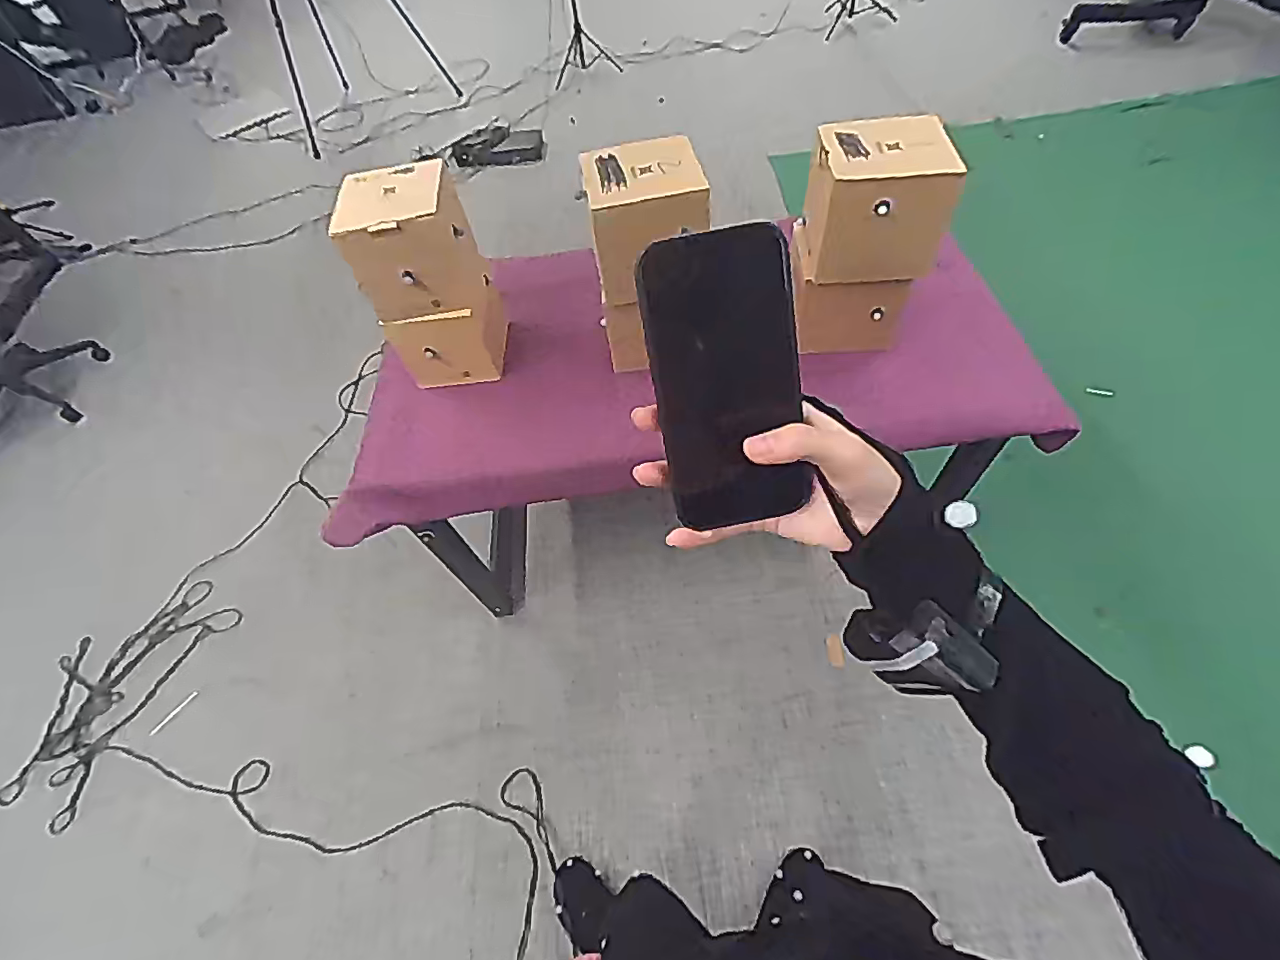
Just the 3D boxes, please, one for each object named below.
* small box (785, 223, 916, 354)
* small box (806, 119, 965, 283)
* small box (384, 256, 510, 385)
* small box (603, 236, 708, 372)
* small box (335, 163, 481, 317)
[{"bbox_3d":[0.369,-0.346,0.982,0.179,0.176,0.168,-1,56,7],"label":"small box"},{"bbox_3d":[0.361,-0.424,0.837,0.179,0.176,0.168,-1,56,6],"label":"small box"},{"bbox_3d":[-0.358,-0.298,1.044,0.168,0.176,0.179,-6,56,4],"label":"small box"},{"bbox_3d":[0.030,-0.323,1.008,0.179,0.176,0.168,-6,56,4],"label":"small box"},{"bbox_3d":[-0.377,-0.395,0.912,0.168,0.176,0.179,-10,57,0],"label":"small box"}]
